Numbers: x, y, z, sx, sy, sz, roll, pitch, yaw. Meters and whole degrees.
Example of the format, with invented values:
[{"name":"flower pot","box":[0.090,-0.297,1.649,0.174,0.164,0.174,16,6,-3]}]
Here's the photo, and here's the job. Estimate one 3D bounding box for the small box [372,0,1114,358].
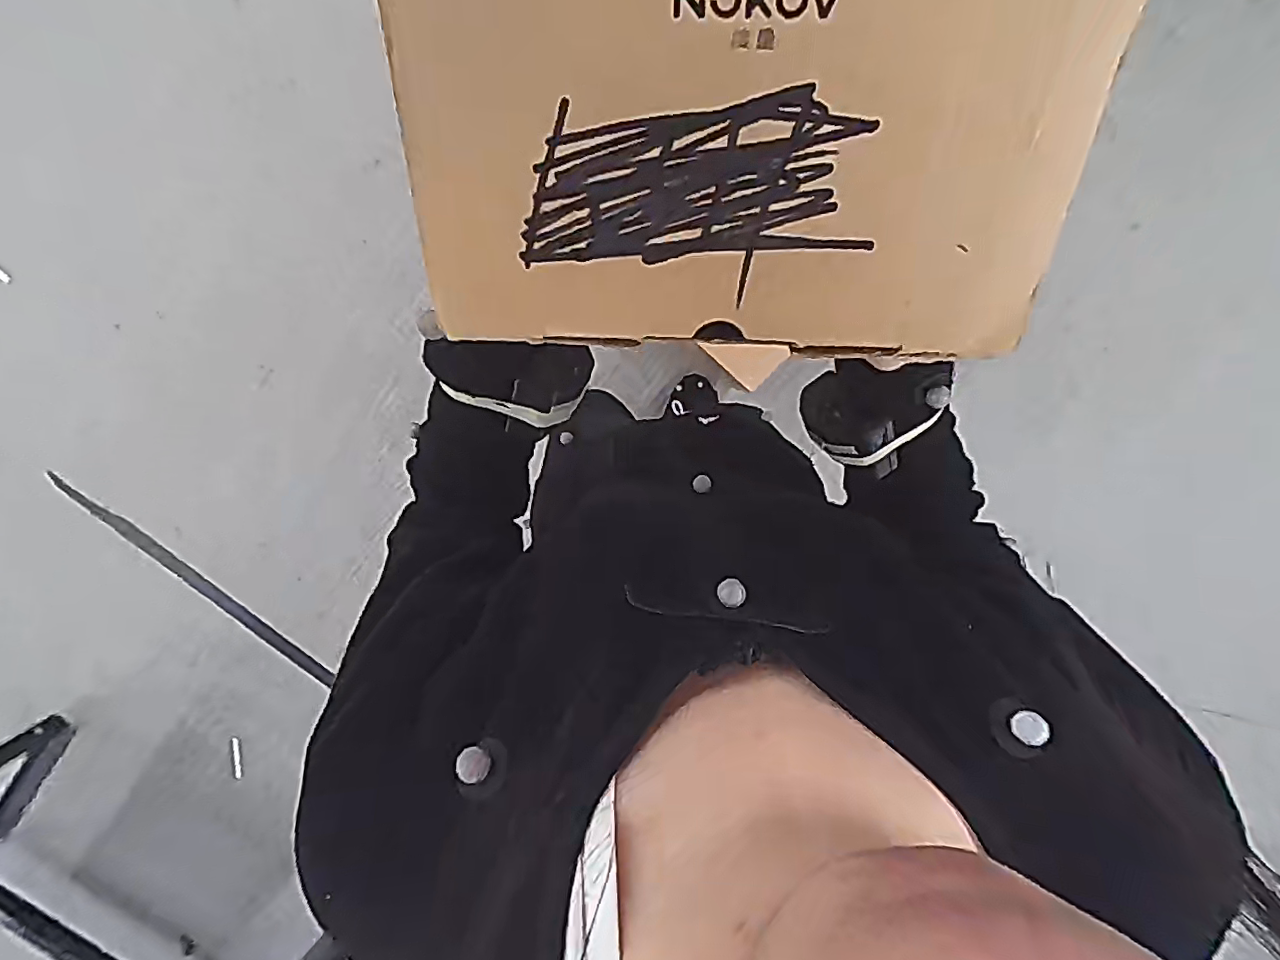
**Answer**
[{"name":"small box","box":[0.025,-0.154,0.185,0.168,0.176,0.179,2,121,2]}]
